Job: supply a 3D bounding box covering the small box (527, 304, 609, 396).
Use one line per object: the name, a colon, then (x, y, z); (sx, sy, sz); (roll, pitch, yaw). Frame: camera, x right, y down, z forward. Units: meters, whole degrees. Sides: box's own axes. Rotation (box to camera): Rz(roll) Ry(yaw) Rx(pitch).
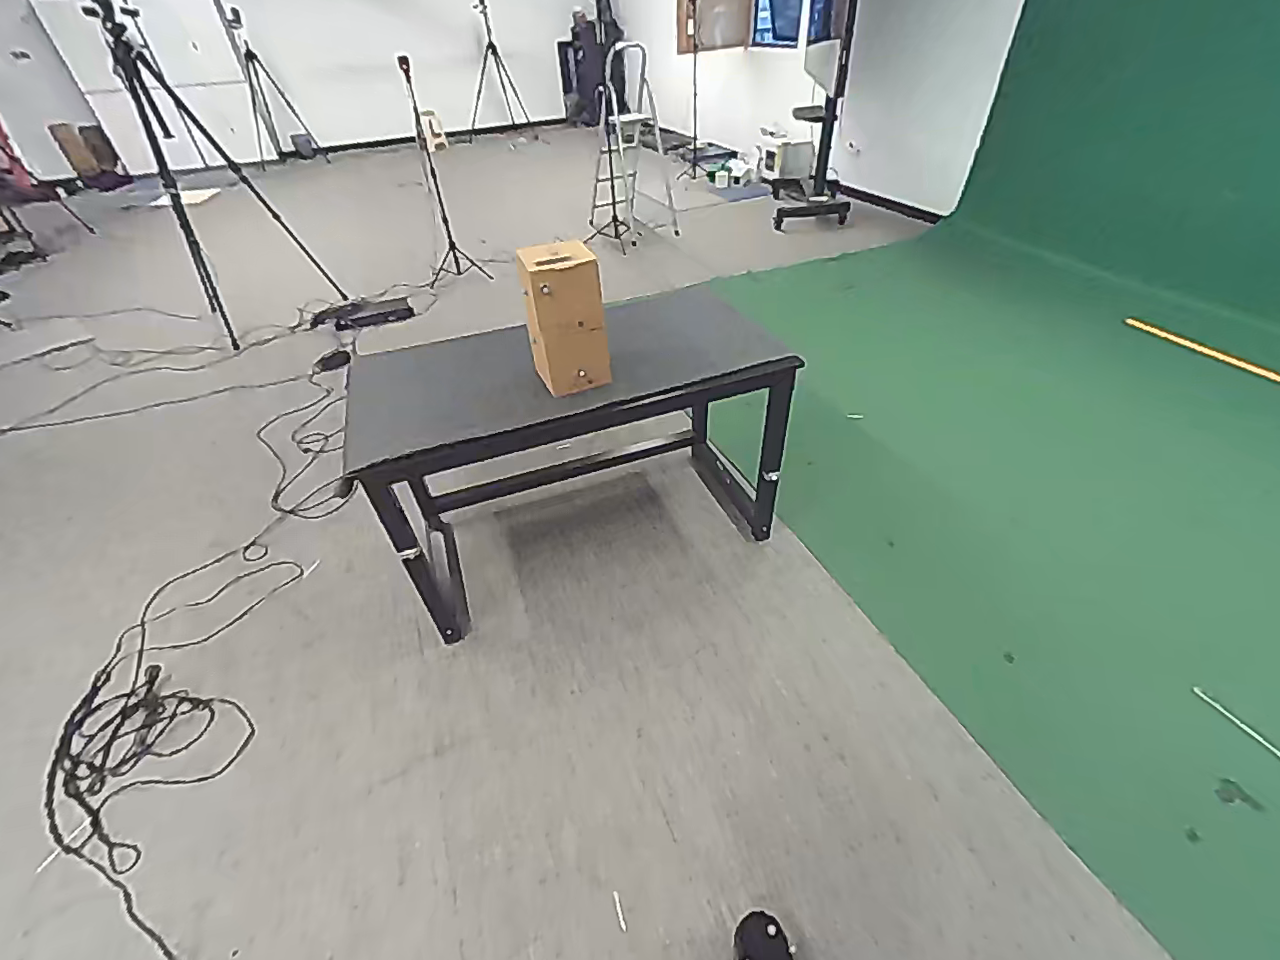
small box: (-0.193, -0.349, 1.452); (0.168, 0.176, 0.179); (-19, 42, -16)
